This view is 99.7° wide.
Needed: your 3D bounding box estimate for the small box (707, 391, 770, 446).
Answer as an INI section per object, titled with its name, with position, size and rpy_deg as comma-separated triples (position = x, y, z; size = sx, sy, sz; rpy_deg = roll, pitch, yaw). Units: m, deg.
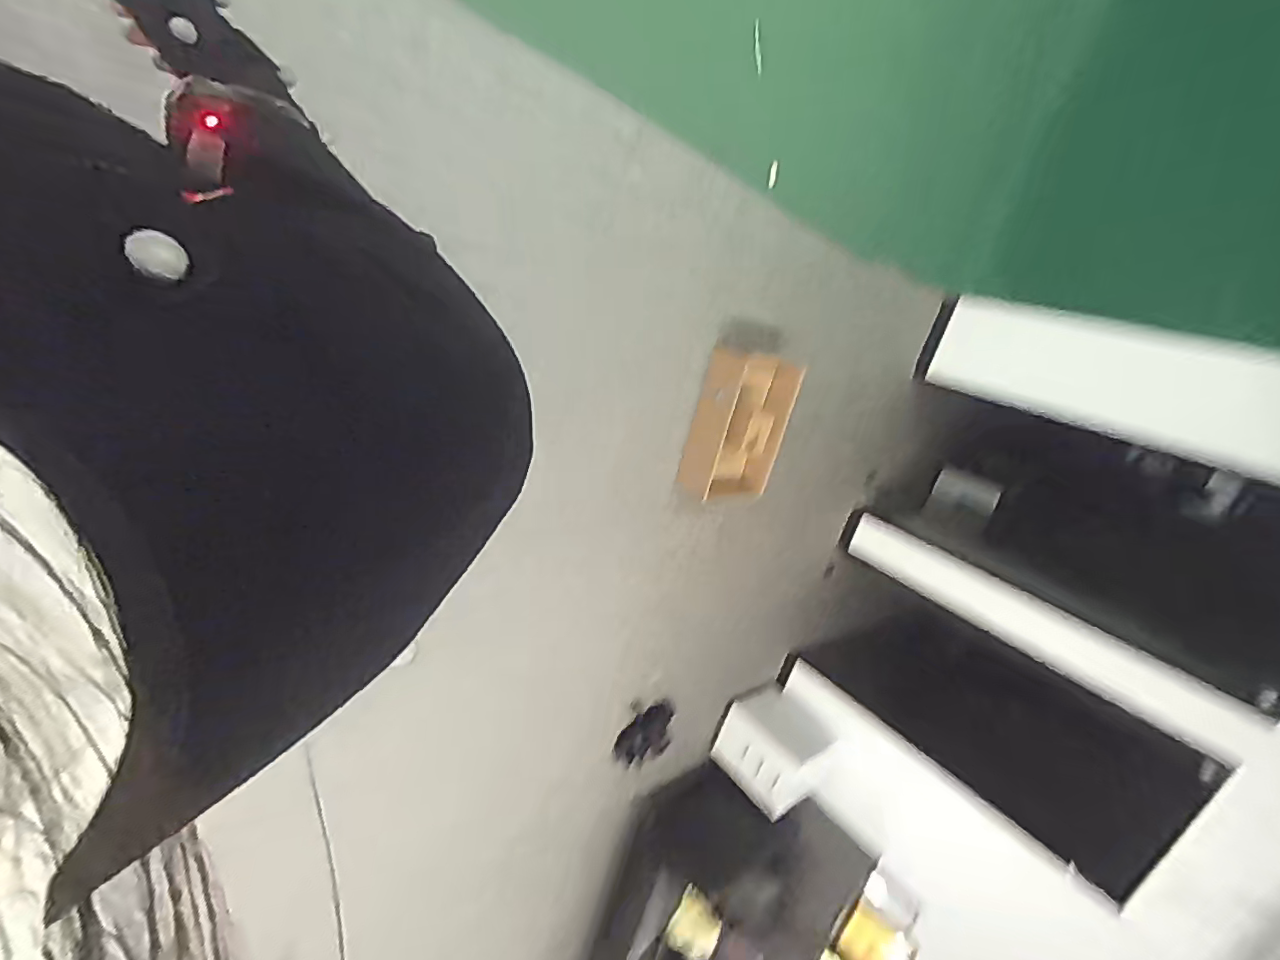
[small box]
position = 0.400, -0.253, 2.225
size = 0.168, 0.176, 0.179
rpy_deg = -6, 119, -43
